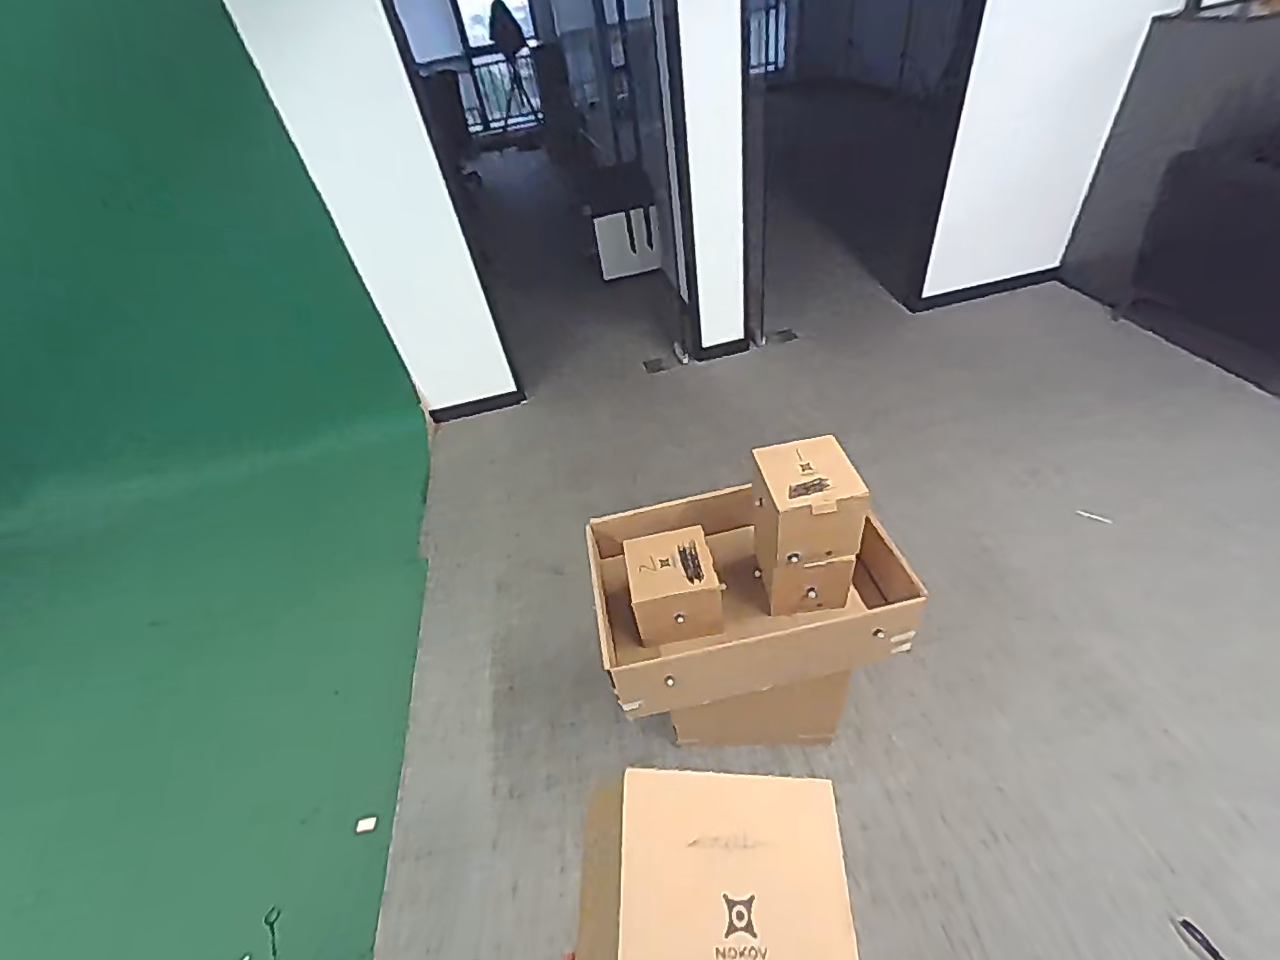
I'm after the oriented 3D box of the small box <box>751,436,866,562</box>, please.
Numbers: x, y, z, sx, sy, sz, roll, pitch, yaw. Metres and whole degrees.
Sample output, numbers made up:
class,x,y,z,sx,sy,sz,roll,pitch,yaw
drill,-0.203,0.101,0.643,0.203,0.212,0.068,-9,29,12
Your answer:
class,x,y,z,sx,sy,sz,roll,pitch,yaw
small box,0.321,0.043,1.060,0.168,0.176,0.179,-11,42,0

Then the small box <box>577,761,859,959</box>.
class,x,y,z,sx,sy,sz,roll,pitch,yaw
small box,0.048,0.331,0.421,0.168,0.176,0.179,10,55,-11
